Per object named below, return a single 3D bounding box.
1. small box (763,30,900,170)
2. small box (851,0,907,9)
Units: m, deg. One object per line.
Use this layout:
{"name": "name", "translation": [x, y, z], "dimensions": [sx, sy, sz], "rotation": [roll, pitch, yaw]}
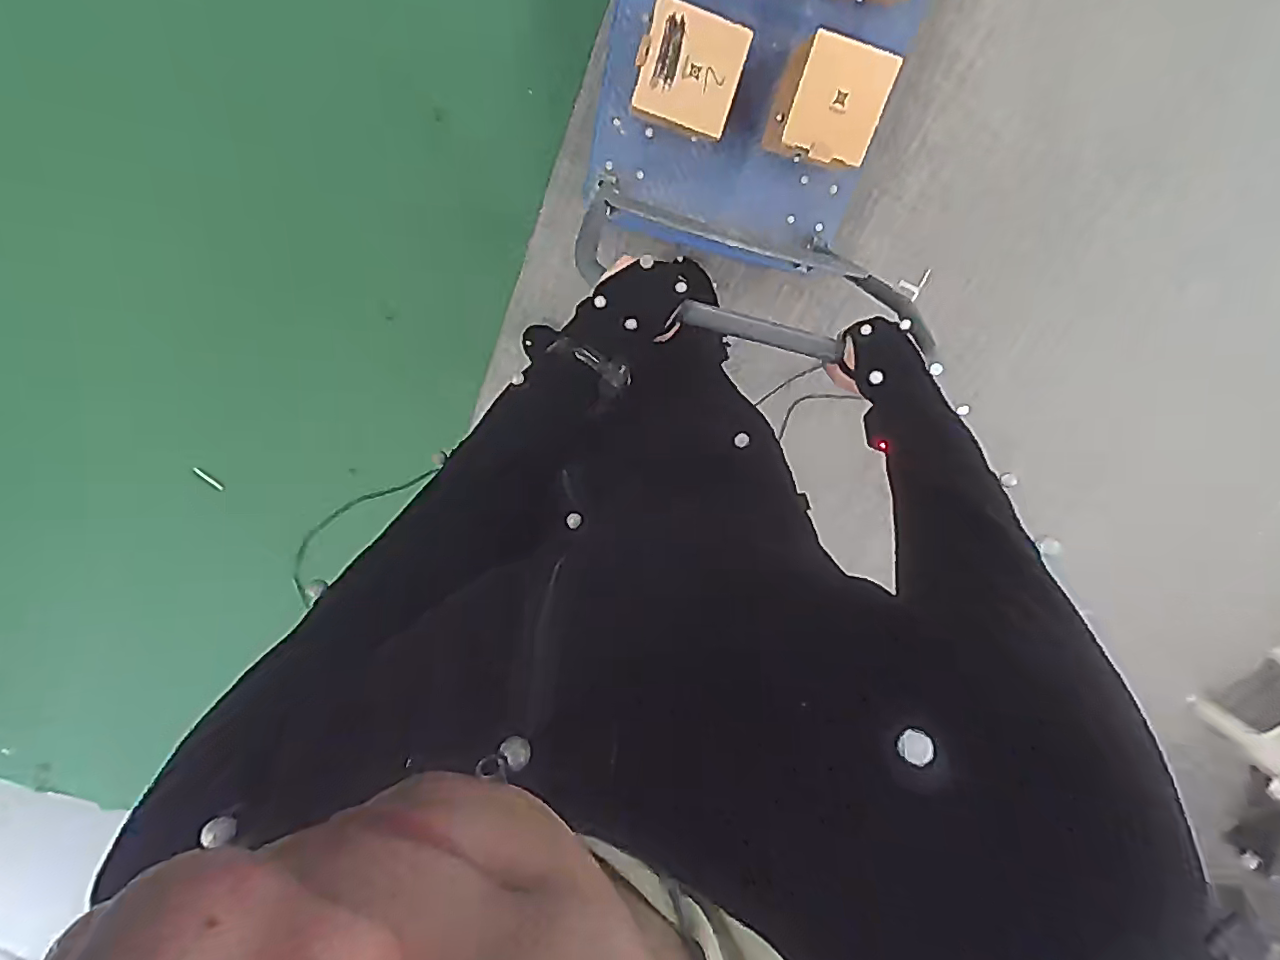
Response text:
{"name": "small box", "translation": [0.356, -0.723, 1.048], "dimensions": [0.168, 0.176, 0.179], "rotation": [13, 119, -9]}
{"name": "small box", "translation": [0.424, -0.949, 0.920], "dimensions": [0.168, 0.176, 0.179], "rotation": [8, 120, -6]}
